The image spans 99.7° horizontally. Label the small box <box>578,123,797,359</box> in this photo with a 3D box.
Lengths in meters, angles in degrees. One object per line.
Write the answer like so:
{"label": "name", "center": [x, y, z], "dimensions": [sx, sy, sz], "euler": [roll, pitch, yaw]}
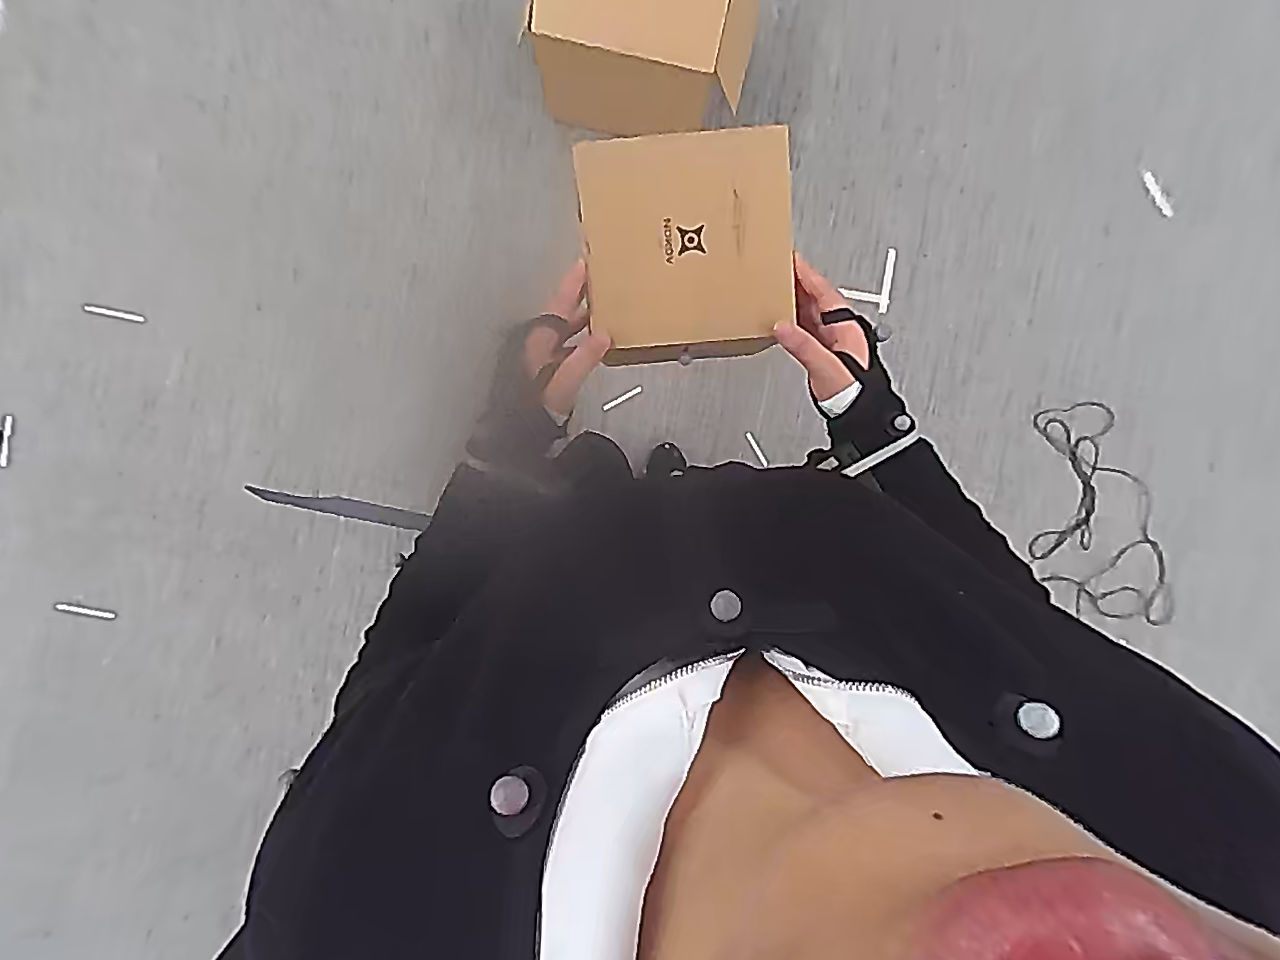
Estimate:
{"label": "small box", "center": [0.042, -0.215, 0.534], "dimensions": [0.179, 0.176, 0.168], "euler": [-5, 98, 0]}
